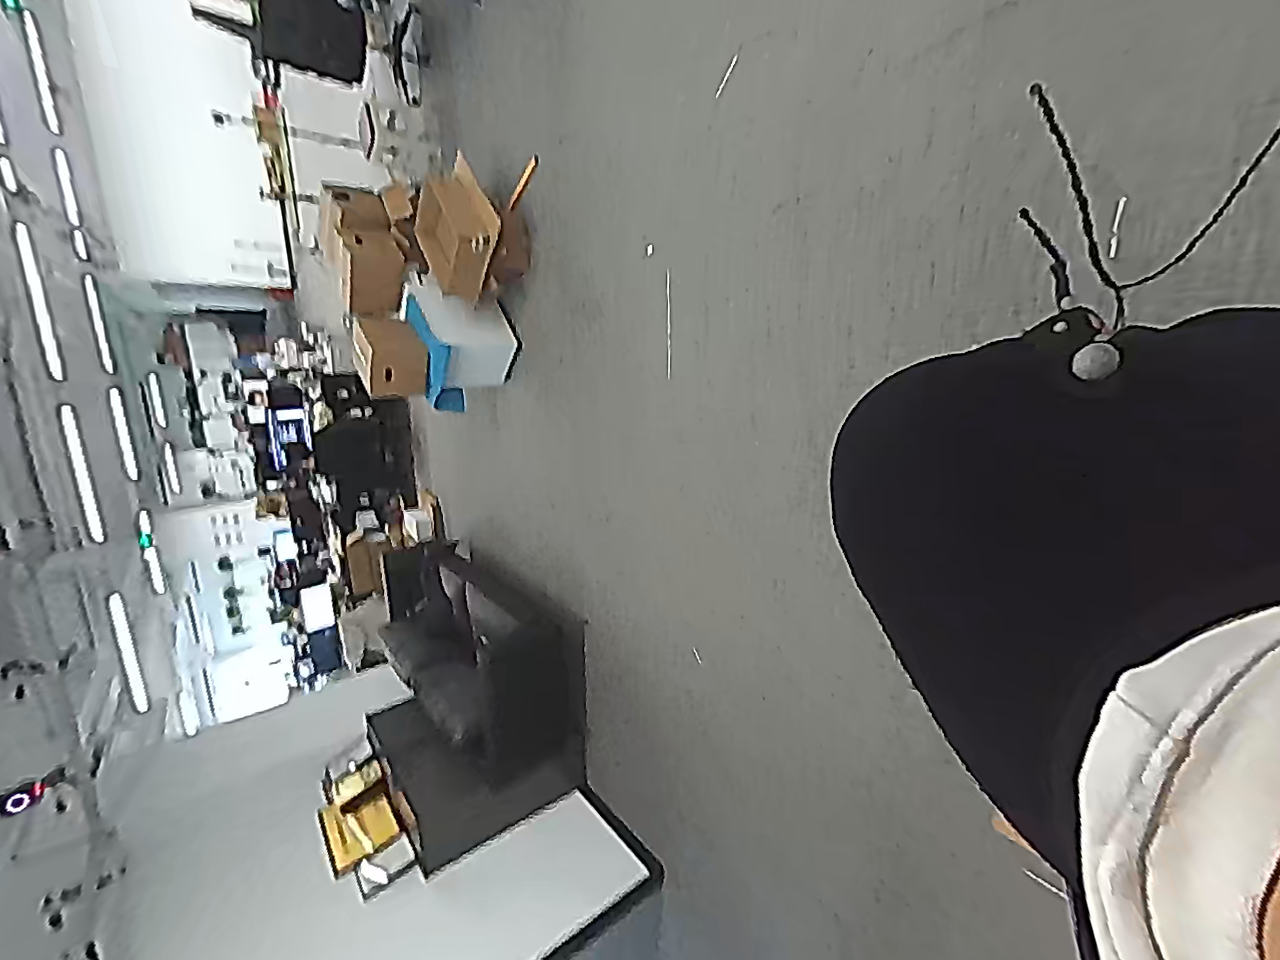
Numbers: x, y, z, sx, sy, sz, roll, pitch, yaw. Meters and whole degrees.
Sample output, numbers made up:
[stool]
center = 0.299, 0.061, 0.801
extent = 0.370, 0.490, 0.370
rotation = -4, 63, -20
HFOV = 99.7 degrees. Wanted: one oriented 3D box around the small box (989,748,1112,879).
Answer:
[small box]
center = 0.962, 0.766, 1.269
extent = 0.179, 0.176, 0.168
rotation = 18, 113, 48
